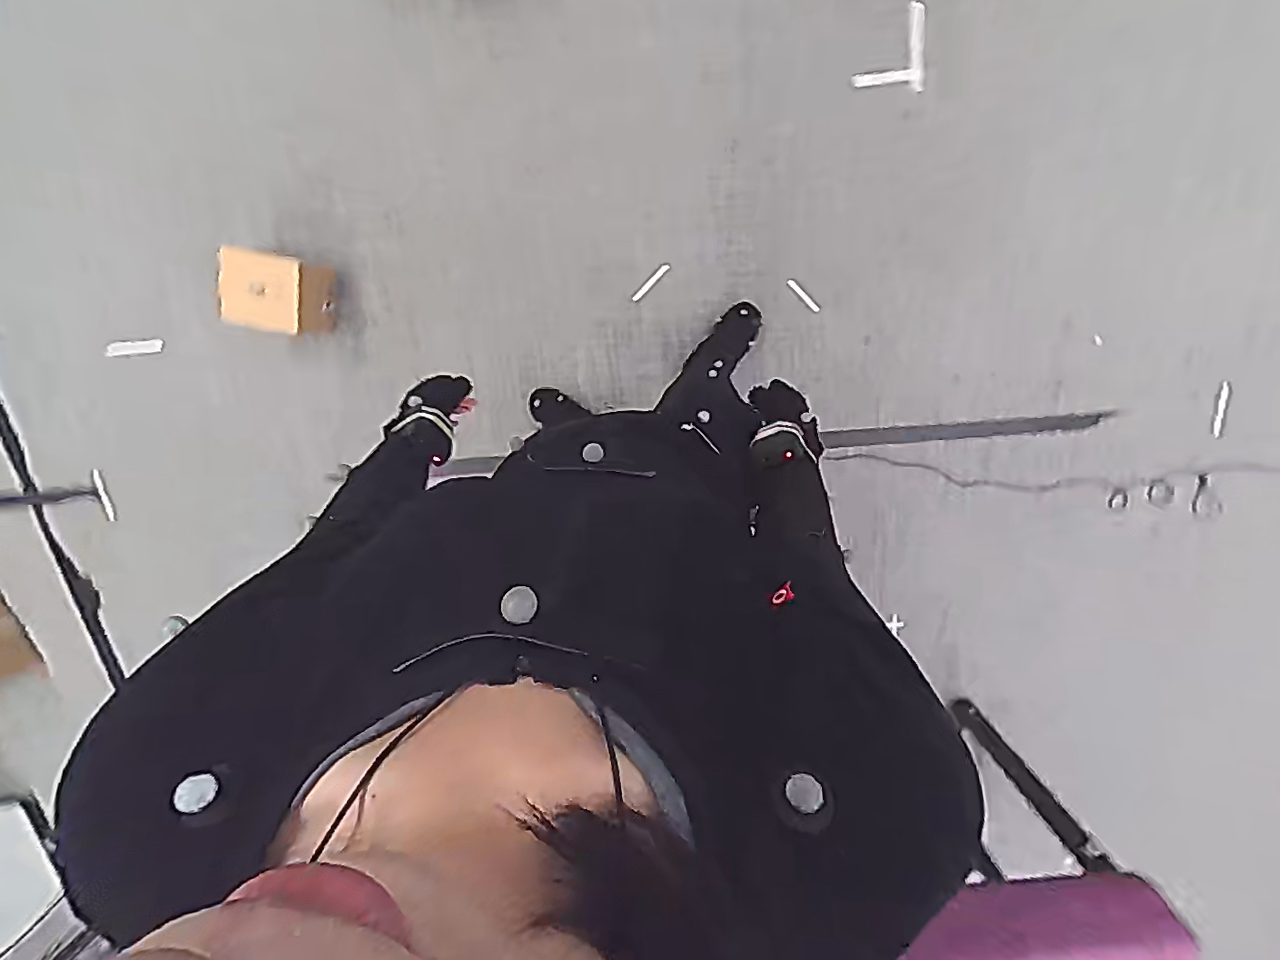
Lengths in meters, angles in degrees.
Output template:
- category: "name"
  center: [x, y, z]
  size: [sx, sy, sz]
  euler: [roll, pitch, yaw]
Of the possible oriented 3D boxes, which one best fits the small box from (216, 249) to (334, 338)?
- category: "small box"
  center: [-0.869, -0.442, 1.297]
  size: [0.179, 0.176, 0.168]
  euler: [9, 106, -5]
